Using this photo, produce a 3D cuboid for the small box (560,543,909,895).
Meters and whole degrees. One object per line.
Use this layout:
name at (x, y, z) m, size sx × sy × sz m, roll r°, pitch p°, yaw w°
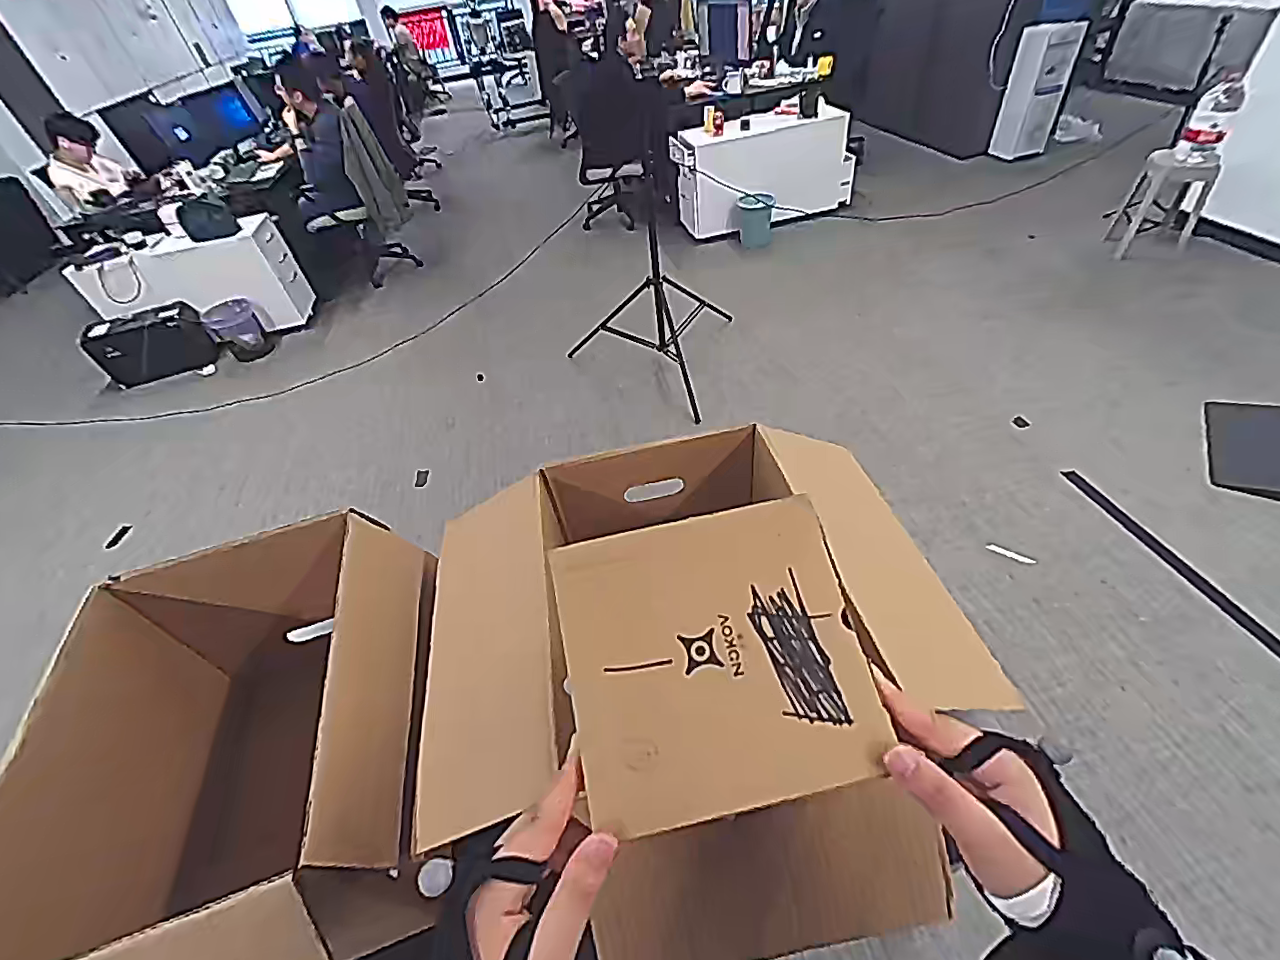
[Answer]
small box at (0.049, 0.159, 0.392) m, size 0.179 × 0.176 × 0.168 m, roll -11°, pitch 68°, yaw -3°
